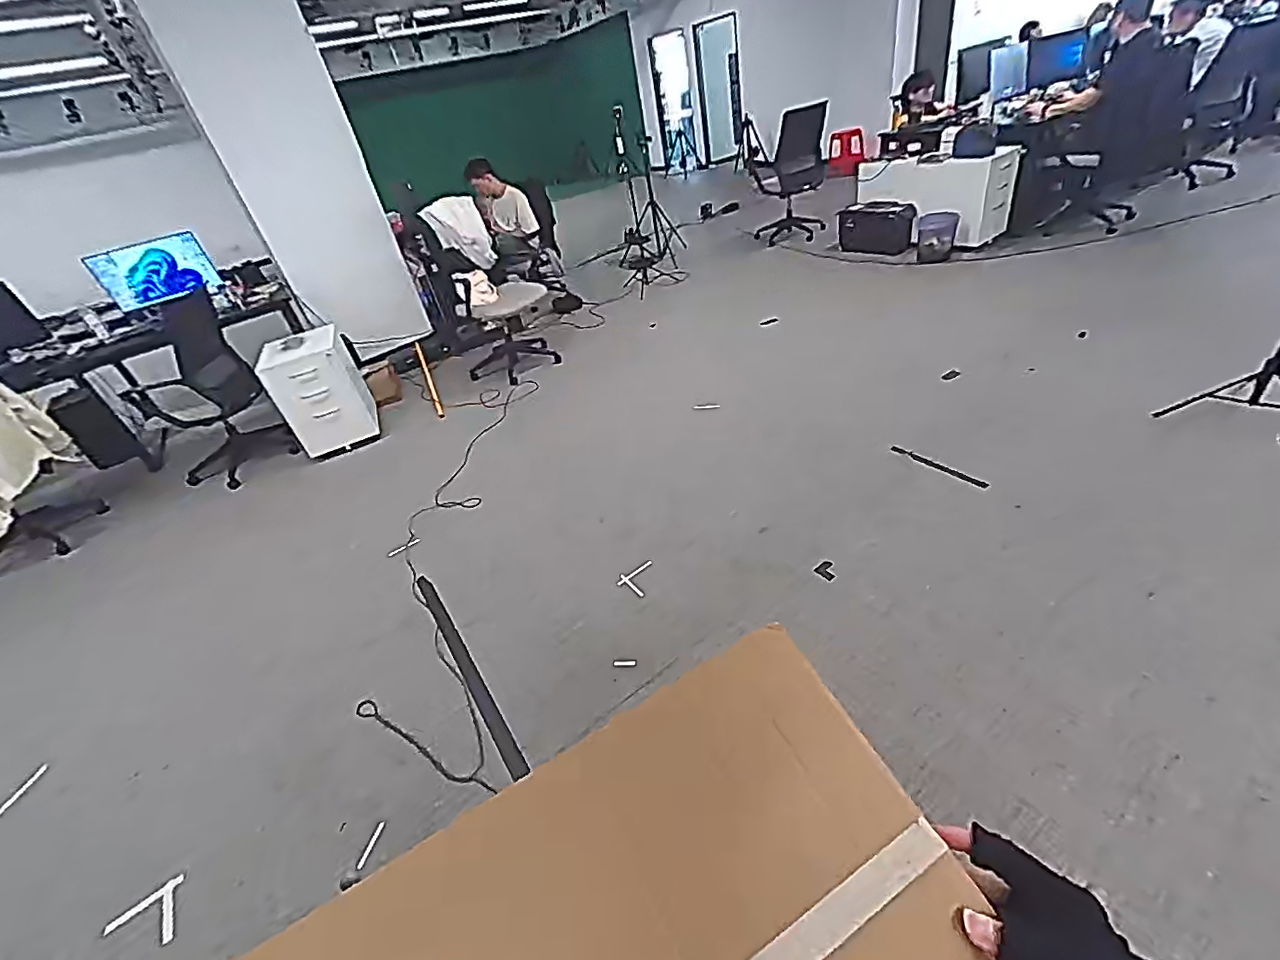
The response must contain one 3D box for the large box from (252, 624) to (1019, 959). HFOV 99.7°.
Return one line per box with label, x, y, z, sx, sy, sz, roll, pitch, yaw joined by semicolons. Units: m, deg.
large box;0.008;0.385;0.418;0.408;0.320;0.320;-27;63;-16
